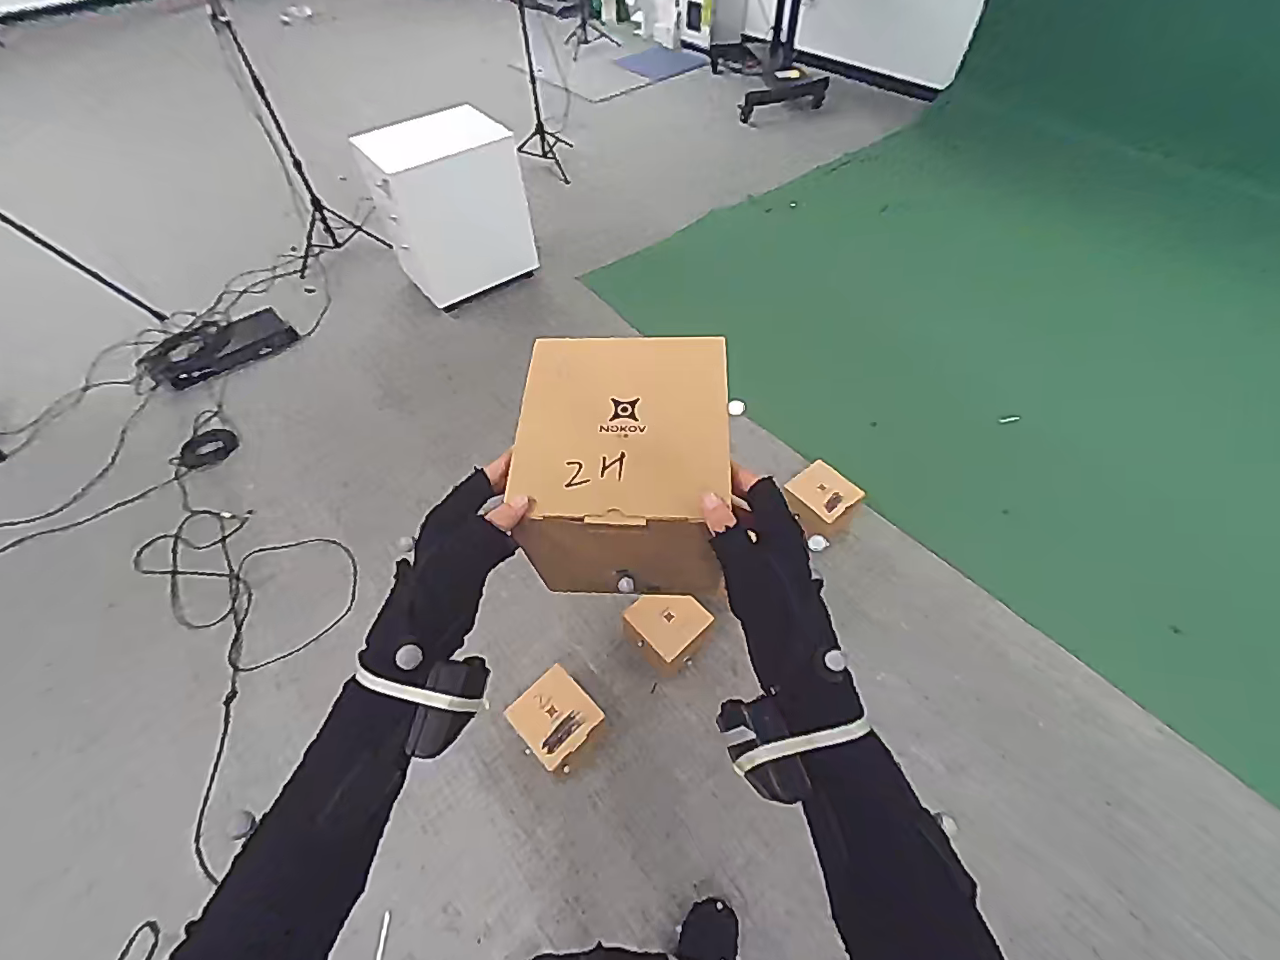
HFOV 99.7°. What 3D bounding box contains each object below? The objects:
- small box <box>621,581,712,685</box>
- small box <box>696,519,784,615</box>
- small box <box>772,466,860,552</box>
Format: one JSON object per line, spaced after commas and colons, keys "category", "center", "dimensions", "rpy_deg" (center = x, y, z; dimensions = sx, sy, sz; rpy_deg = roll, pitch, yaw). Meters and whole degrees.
{"category": "small box", "center": [0.066, 0.407, 1.426], "dimensions": [0.168, 0.176, 0.179], "rpy_deg": [-38, 62, -23]}
{"category": "small box", "center": [0.276, 0.252, 1.542], "dimensions": [0.168, 0.176, 0.179], "rpy_deg": [-29, 58, -20]}
{"category": "small box", "center": [0.531, 0.098, 1.656], "dimensions": [0.168, 0.176, 0.179], "rpy_deg": [-33, 58, -22]}
